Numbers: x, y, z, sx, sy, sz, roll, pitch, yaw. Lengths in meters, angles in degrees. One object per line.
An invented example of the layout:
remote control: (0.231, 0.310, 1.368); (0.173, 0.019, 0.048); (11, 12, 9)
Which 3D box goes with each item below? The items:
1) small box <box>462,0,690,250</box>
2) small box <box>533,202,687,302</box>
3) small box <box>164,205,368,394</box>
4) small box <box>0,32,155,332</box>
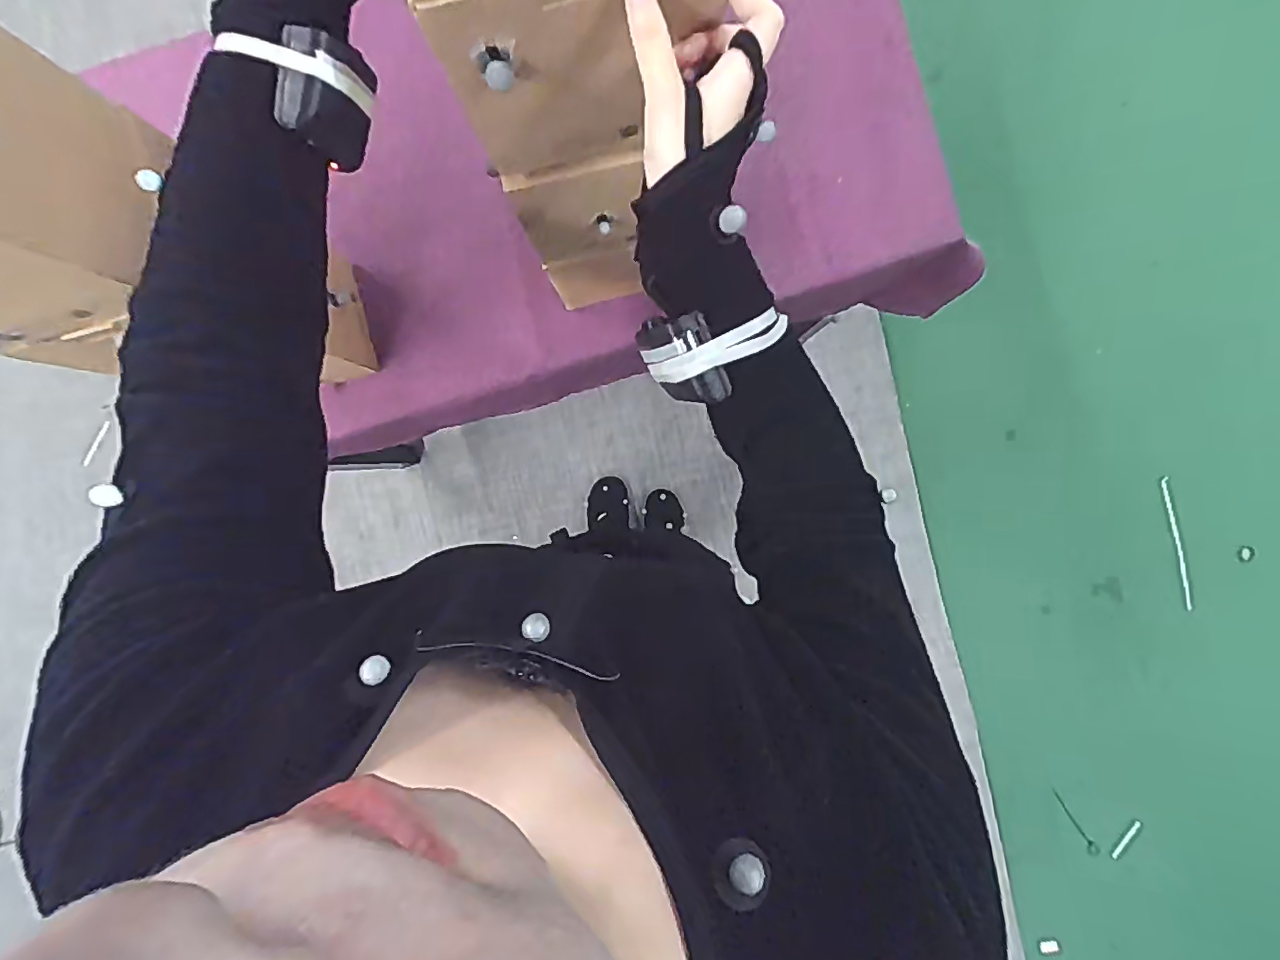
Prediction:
small box: (-0.050, -0.342, 0.519); (0.168, 0.176, 0.179); (-12, 92, 1)
small box: (-0.045, -0.342, 0.684); (0.179, 0.176, 0.168); (-14, 92, 1)
small box: (-0.480, -0.218, 0.698); (0.179, 0.176, 0.168); (-15, 92, 1)
small box: (-0.494, -0.214, 0.370); (0.168, 0.176, 0.179); (-16, 91, 1)
